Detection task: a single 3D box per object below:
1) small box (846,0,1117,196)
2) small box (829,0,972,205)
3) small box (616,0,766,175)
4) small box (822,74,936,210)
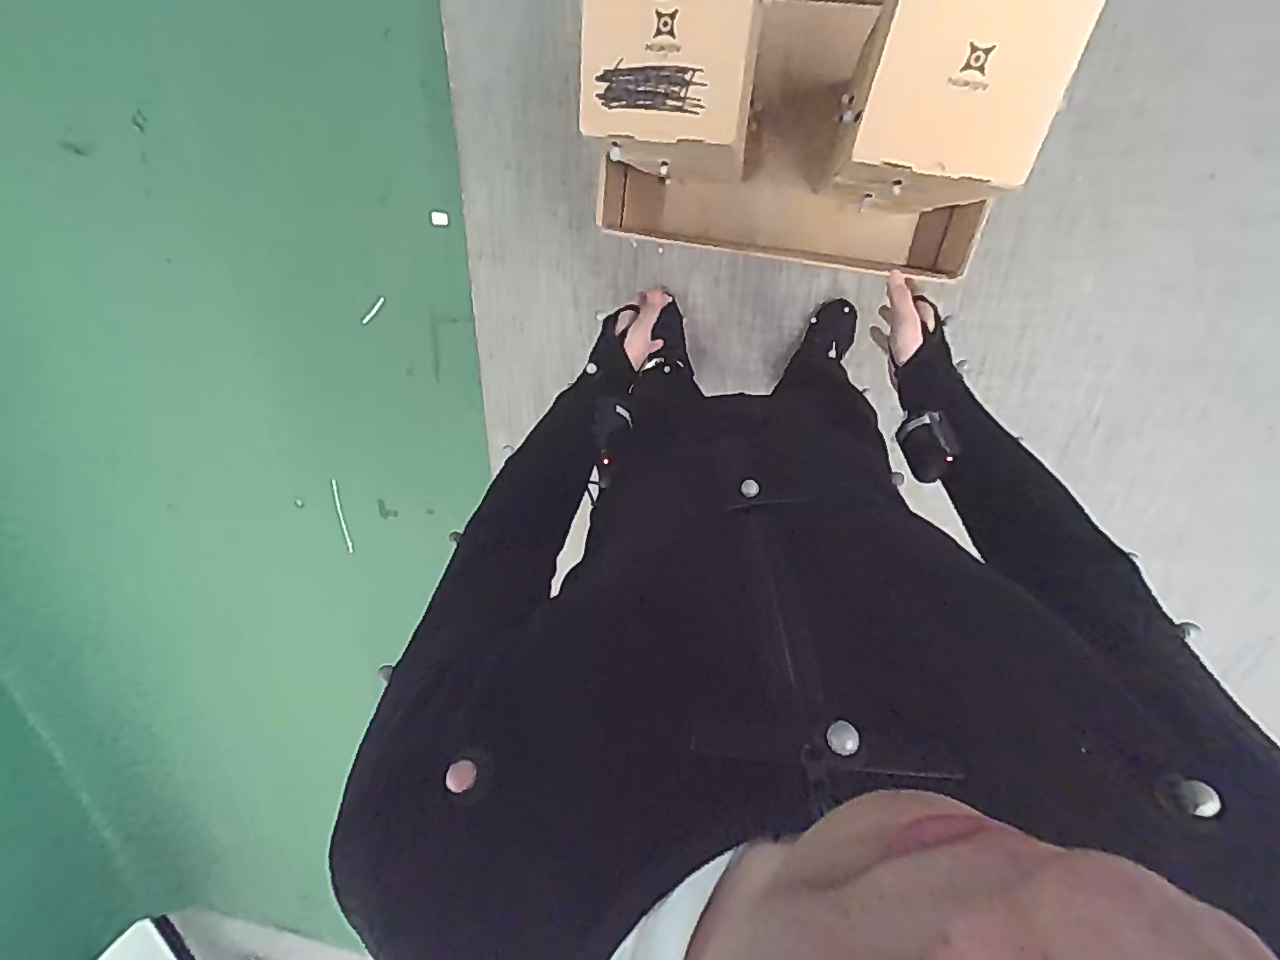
[{"bbox_3d":[0.323,-0.404,0.550,0.168,0.176,0.179,15,117,7],"label":"small box"},{"bbox_3d":[0.355,-0.468,0.695,0.168,0.176,0.179,15,116,6],"label":"small box"},{"bbox_3d":[0.072,-0.527,0.730,0.168,0.176,0.179,10,115,10],"label":"small box"},{"bbox_3d":[0.393,-0.534,0.839,0.168,0.176,0.179,15,117,6],"label":"small box"}]
